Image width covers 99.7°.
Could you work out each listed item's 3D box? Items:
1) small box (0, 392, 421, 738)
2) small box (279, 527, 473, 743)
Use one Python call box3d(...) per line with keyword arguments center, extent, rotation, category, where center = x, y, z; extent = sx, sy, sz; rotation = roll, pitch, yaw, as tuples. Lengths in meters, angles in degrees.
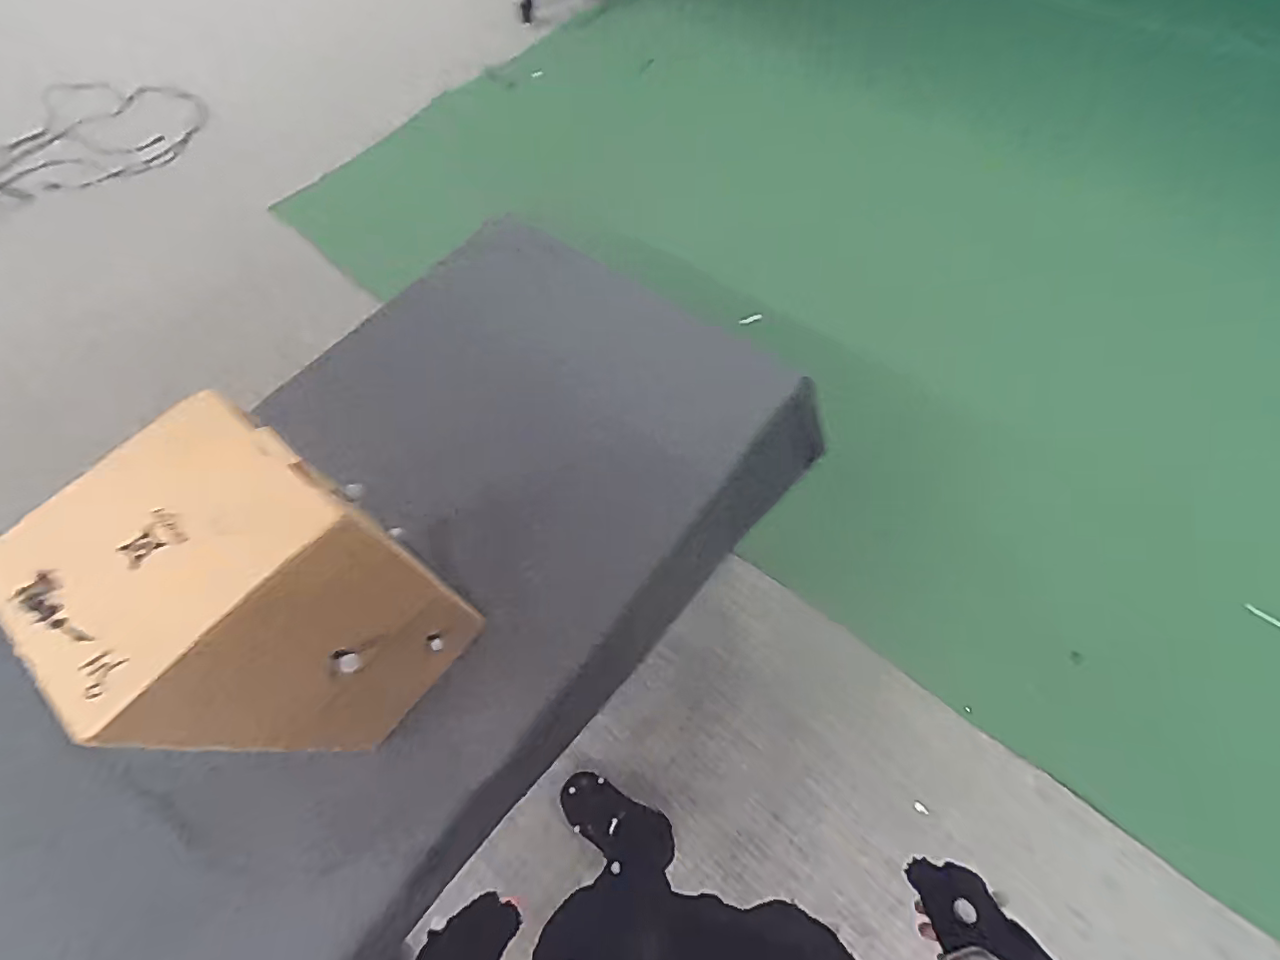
box3d(center=(-0.301, 0.073, 0.423), extent=(0.168, 0.176, 0.179), rotation=(35, 69, 19), category="small box")
box3d(center=(-0.300, 0.147, 0.569), extent=(0.168, 0.176, 0.179), rotation=(33, 71, 18), category="small box")
